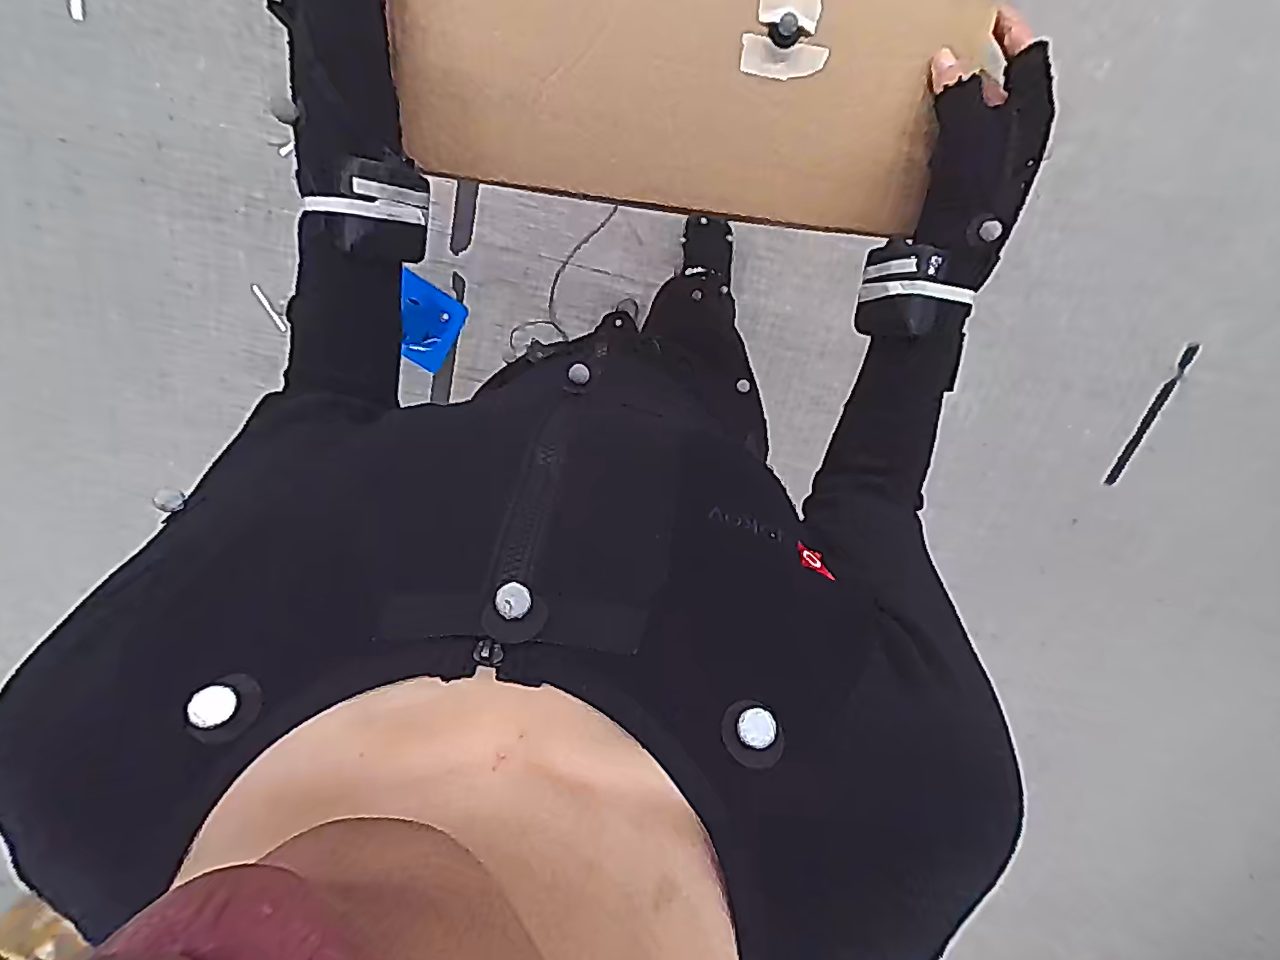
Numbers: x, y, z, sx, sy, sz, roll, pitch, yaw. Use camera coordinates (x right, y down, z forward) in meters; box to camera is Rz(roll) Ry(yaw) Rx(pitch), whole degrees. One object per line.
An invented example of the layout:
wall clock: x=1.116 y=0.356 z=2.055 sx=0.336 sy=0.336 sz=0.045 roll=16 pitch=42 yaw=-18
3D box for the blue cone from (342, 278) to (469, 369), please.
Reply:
blue cone: x=-0.558 y=-0.344 z=1.233 sx=0.193 sy=0.380 sz=0.192 roll=34 pitch=108 yaw=-10

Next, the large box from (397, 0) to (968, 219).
large box: x=0.032 y=-0.428 z=0.494 sx=0.408 sy=0.320 sz=0.320 roll=6 pitch=116 yaw=-2
